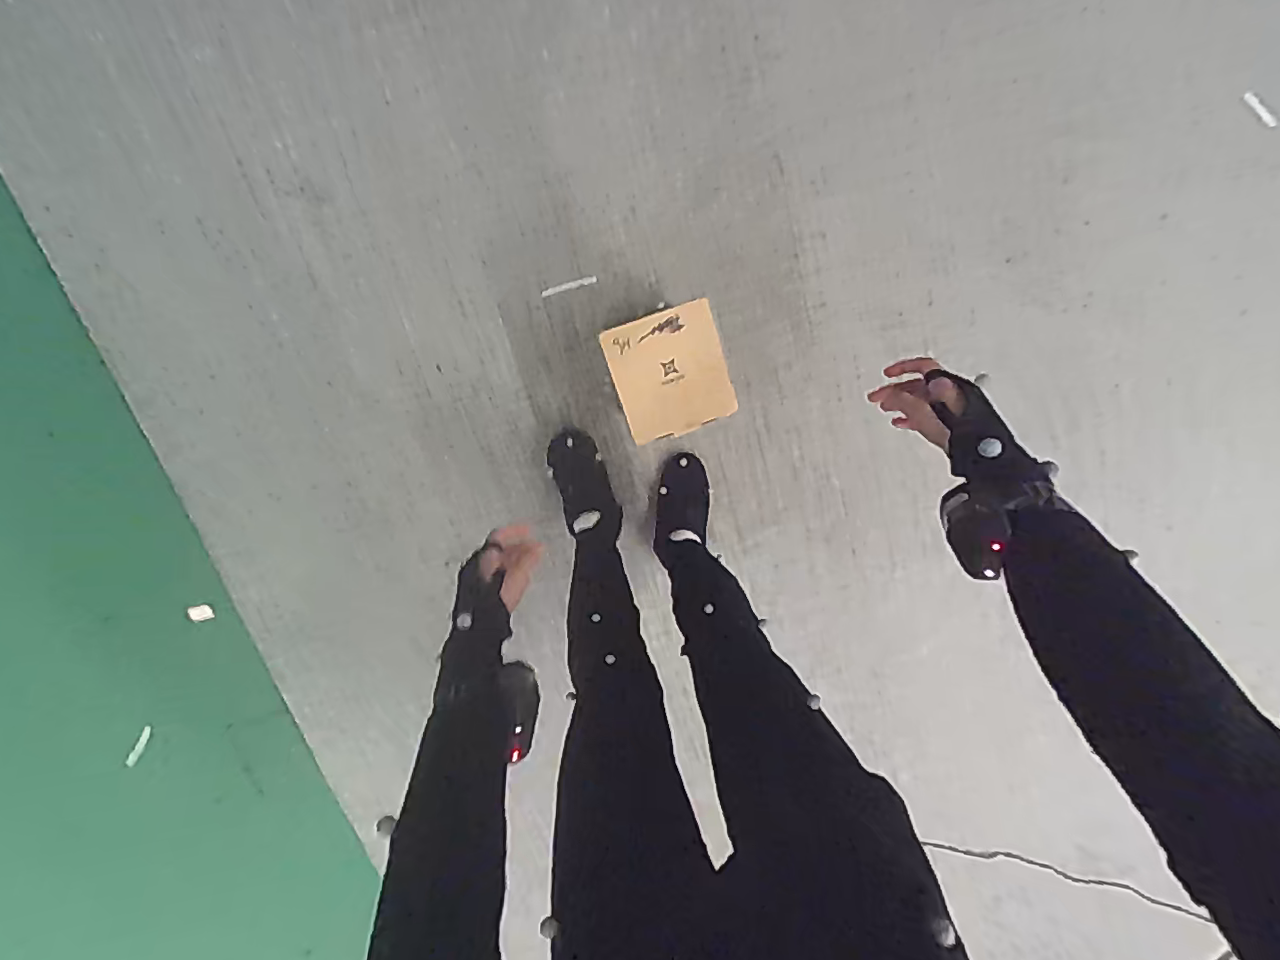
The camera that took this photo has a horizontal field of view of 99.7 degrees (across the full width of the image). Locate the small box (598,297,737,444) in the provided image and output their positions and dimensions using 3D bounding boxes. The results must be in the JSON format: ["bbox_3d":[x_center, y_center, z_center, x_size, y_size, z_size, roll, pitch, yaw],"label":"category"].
[{"bbox_3d":[0.038,-0.177,0.854,0.168,0.176,0.179,-18,106,0],"label":"small box"}]
